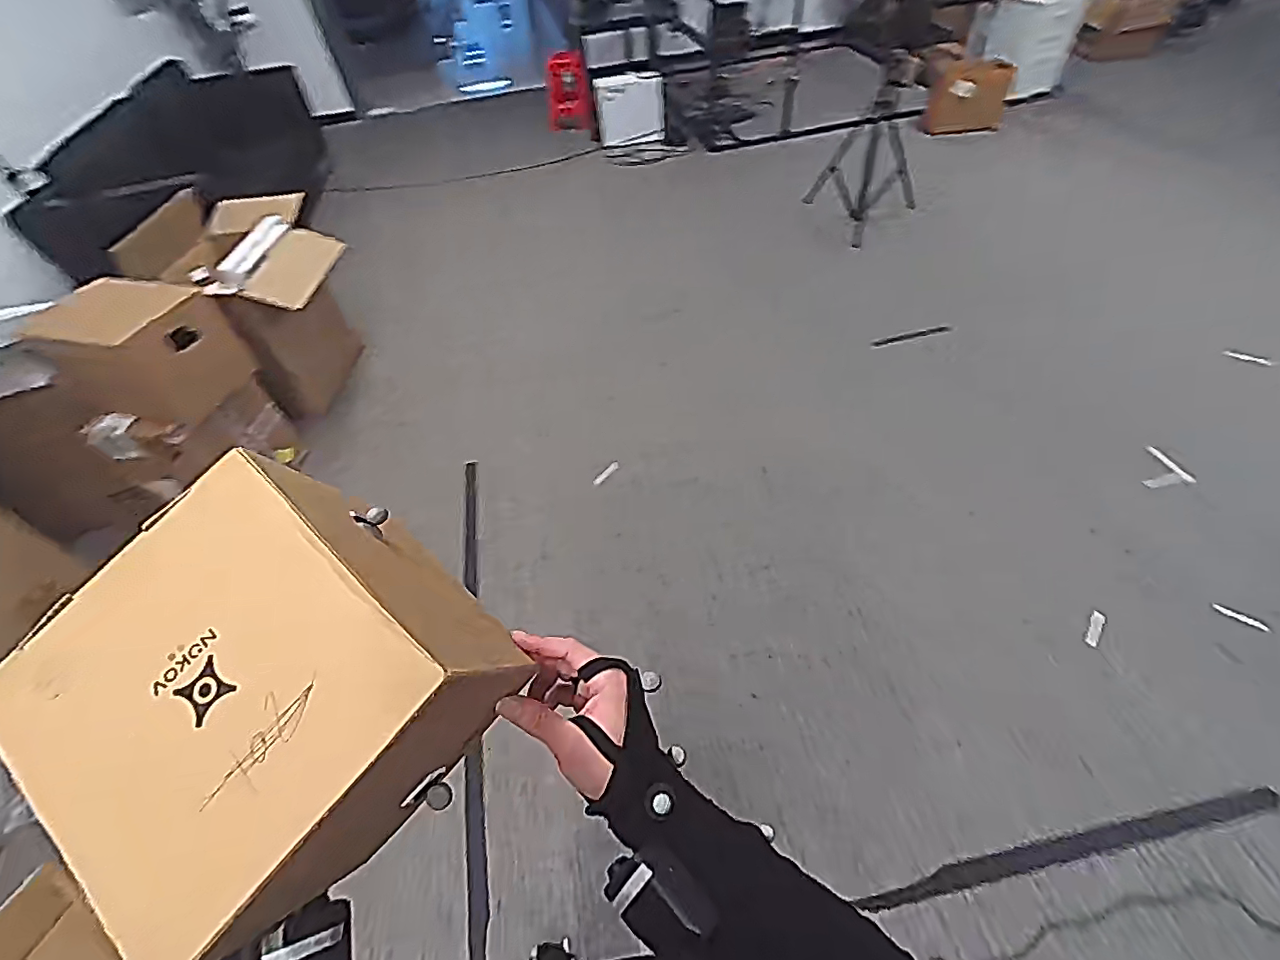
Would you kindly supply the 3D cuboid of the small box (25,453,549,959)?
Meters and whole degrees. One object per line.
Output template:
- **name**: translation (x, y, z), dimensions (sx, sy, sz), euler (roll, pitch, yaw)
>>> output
- **small box**: translation (-0.186, 0.118, 0.340), dimensions (0.179, 0.176, 0.168), euler (40, 80, 15)
